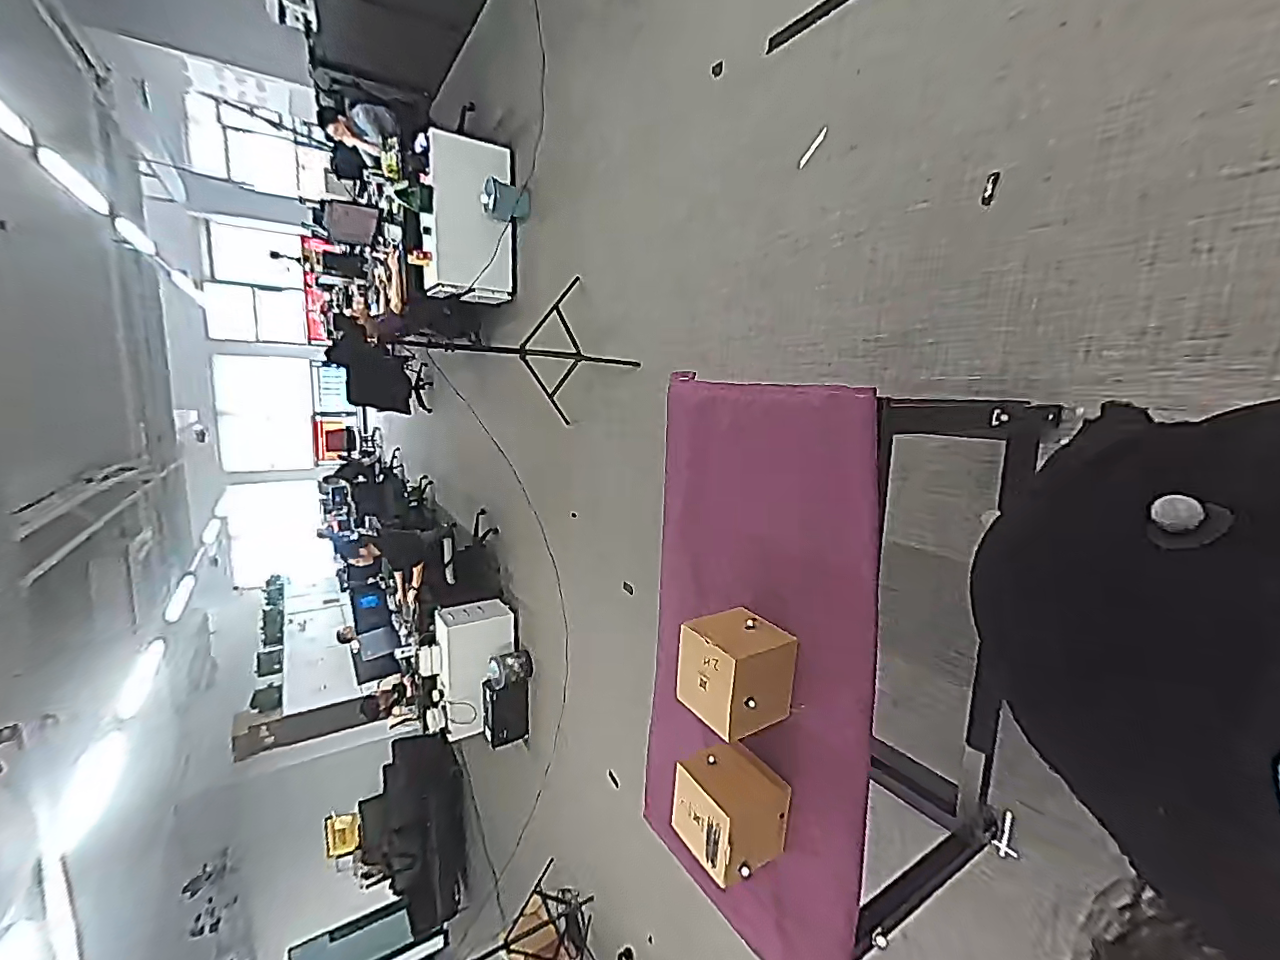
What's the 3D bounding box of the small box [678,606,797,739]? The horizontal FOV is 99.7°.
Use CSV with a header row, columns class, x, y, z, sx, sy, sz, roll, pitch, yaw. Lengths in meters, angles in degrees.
class,x,y,z,sx,sy,sz,roll,pitch,yaw
small box,0.197,0.379,1.098,0.168,0.176,0.179,21,112,55
